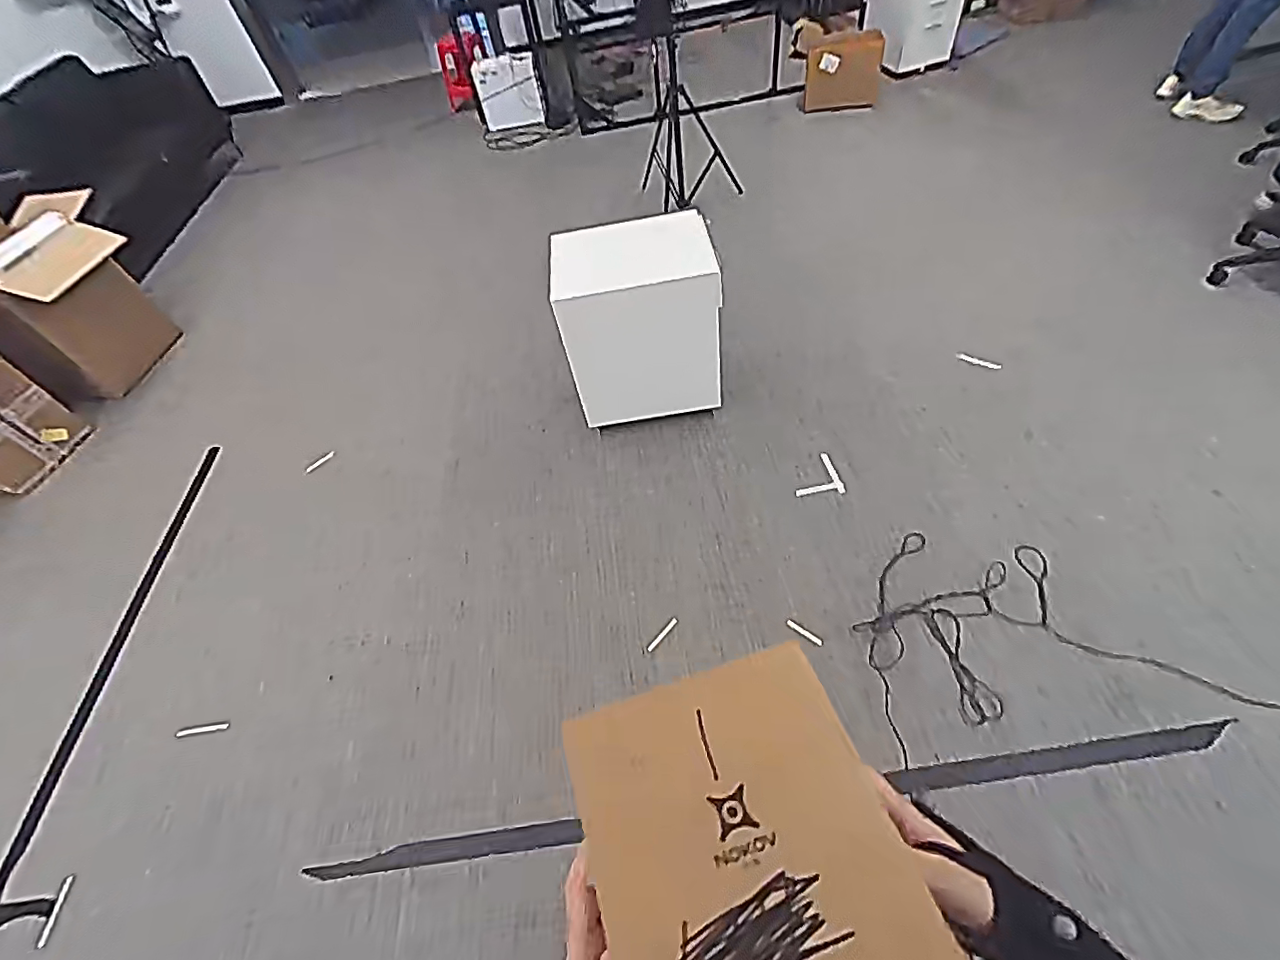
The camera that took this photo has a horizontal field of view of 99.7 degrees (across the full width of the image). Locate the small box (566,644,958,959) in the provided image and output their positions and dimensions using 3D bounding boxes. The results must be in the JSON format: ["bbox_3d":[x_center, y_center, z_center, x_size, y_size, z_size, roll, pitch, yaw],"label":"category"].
[{"bbox_3d":[0.061,0.242,0.362,0.168,0.176,0.179,-17,52,-6],"label":"small box"}]
